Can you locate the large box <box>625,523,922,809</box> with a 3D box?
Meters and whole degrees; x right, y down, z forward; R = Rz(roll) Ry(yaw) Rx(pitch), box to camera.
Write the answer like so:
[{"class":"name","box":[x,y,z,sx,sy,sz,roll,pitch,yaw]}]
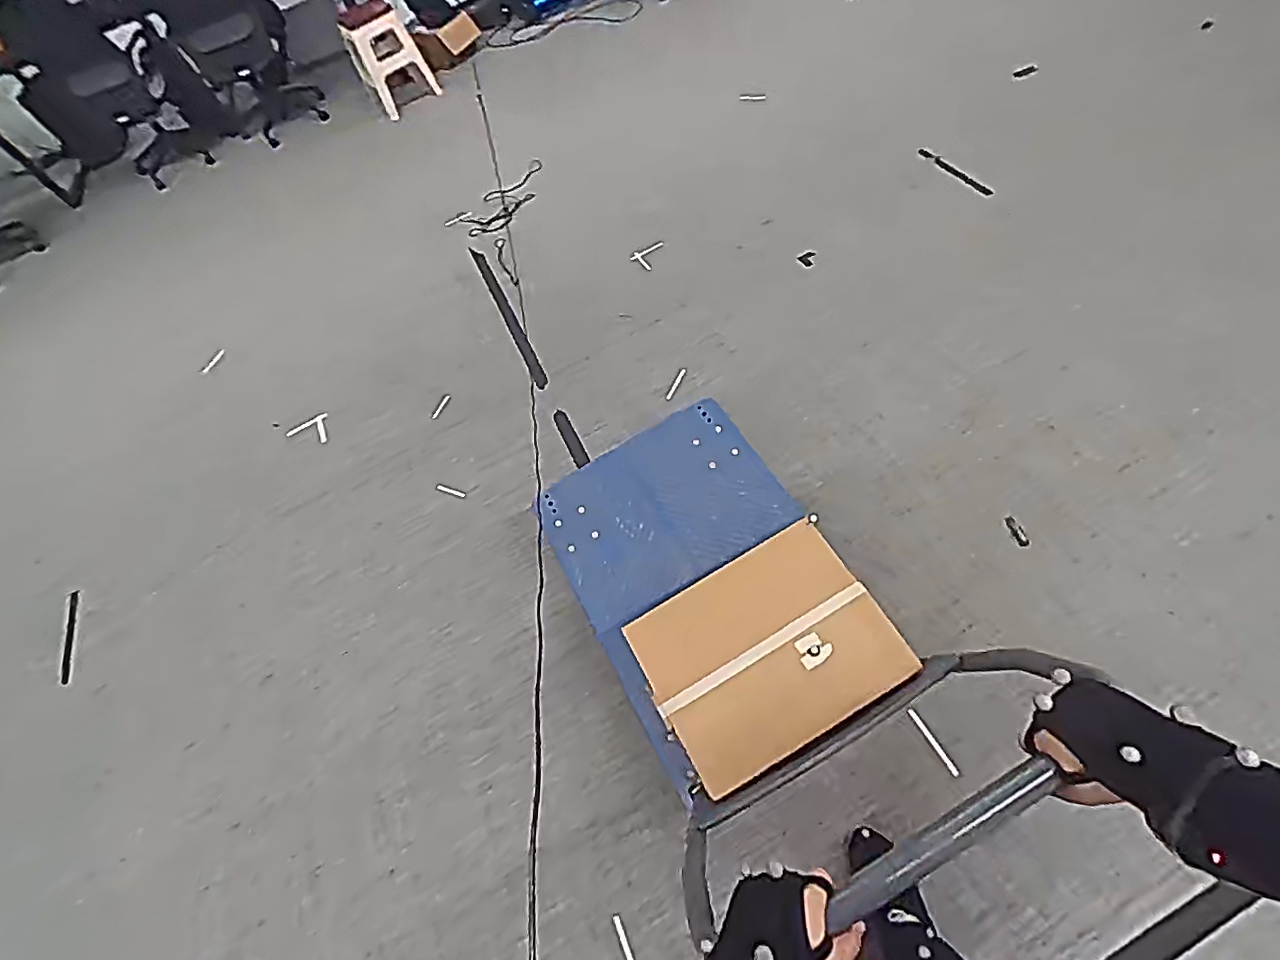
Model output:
[{"class":"large box","box":[0.234,0.355,1.043,0.408,0.320,0.320,-30,65,-5]}]
